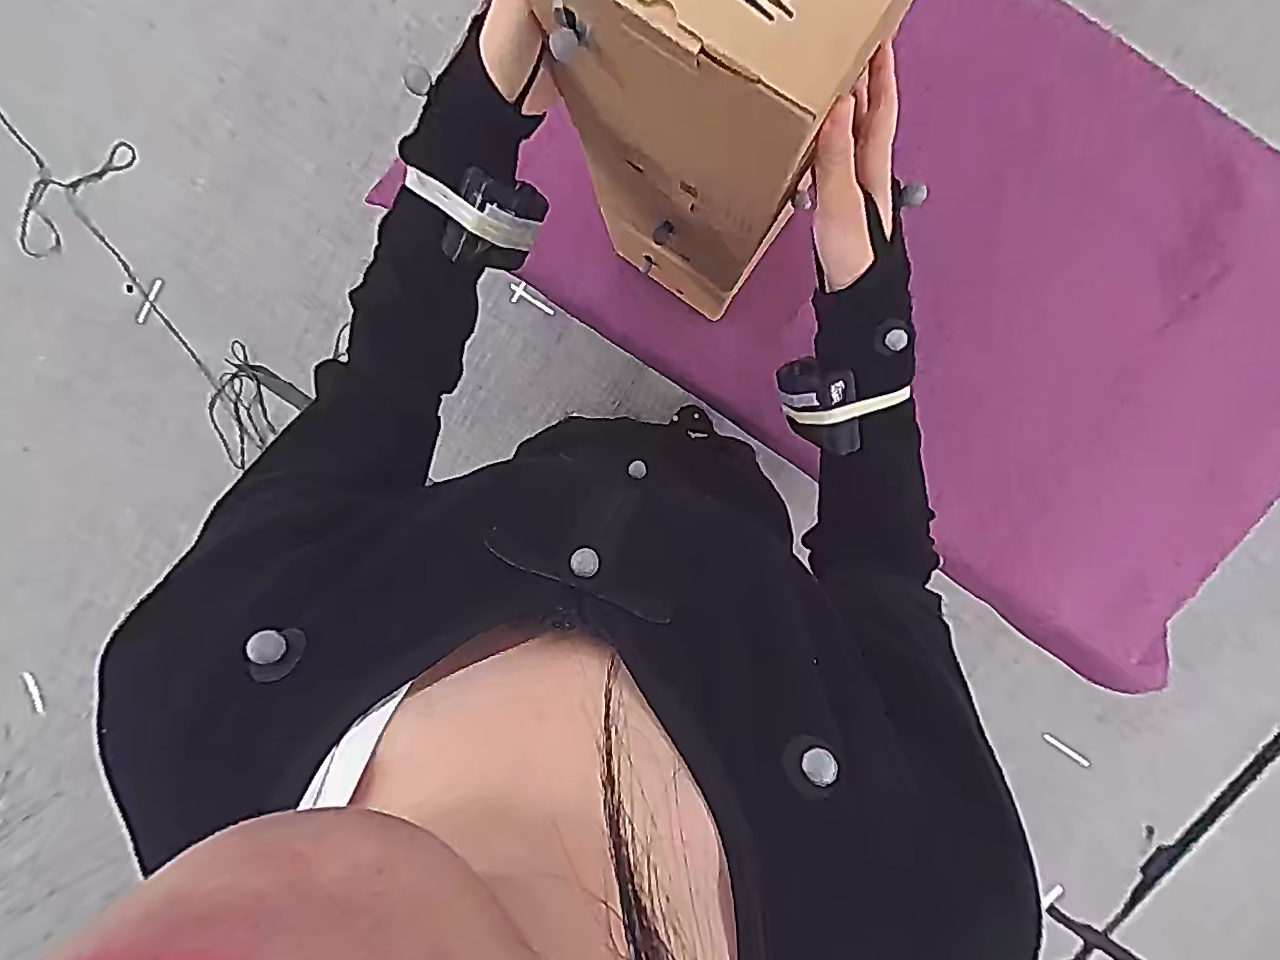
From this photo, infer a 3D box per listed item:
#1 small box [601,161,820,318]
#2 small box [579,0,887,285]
[{"bbox_3d":[0.077,-0.316,0.641,0.168,0.176,0.179,35,97,-2],"label":"small box"},{"bbox_3d":[0.071,-0.301,0.478,0.168,0.176,0.179,33,98,-2],"label":"small box"}]
